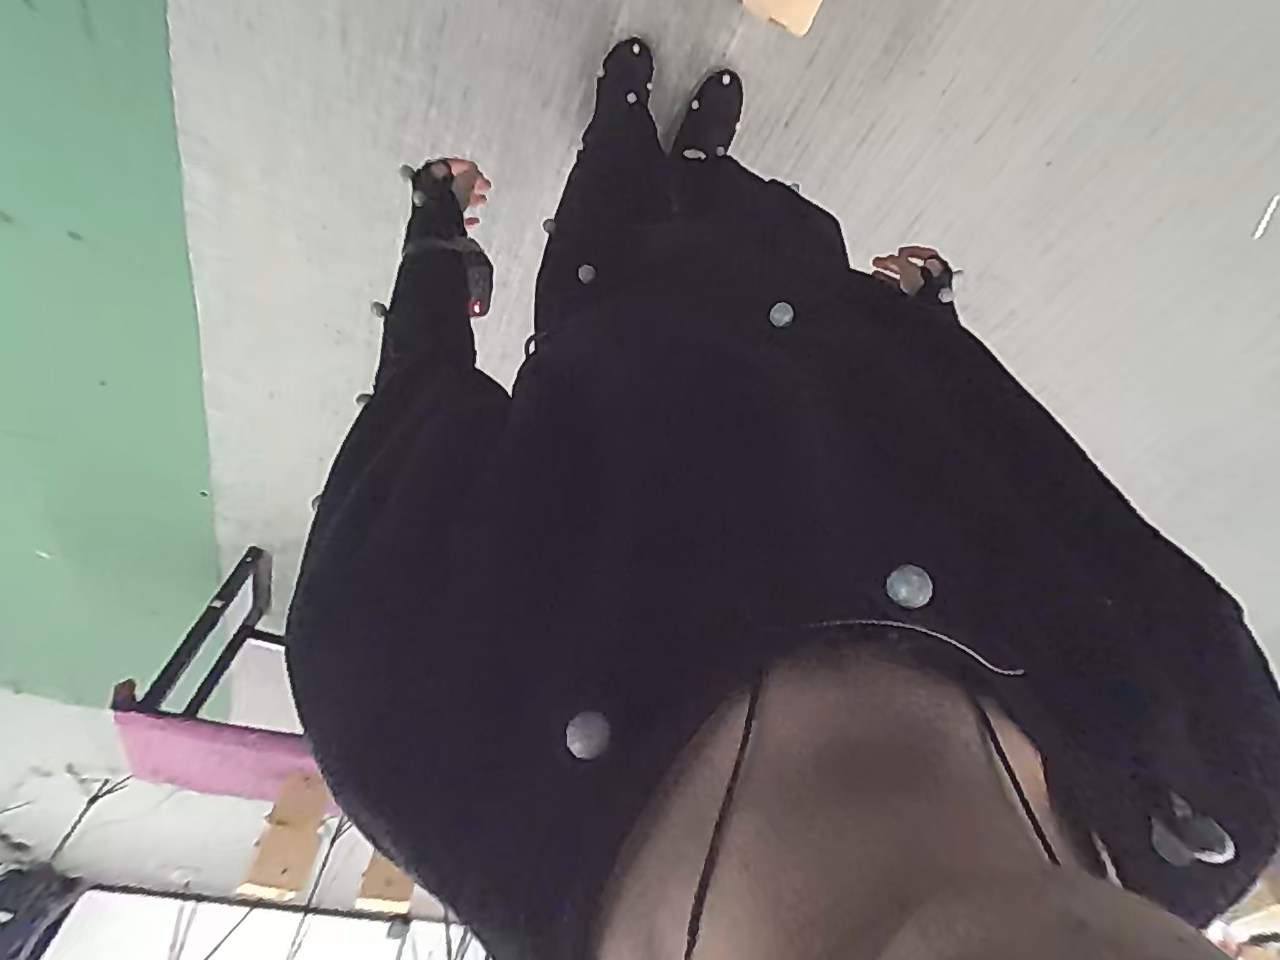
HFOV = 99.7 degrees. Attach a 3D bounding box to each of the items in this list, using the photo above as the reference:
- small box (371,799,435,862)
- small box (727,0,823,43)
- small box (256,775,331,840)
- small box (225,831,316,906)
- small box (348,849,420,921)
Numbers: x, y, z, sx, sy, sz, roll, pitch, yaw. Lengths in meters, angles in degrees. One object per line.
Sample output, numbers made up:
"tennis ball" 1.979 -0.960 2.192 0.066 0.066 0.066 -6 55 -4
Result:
"small box" -0.885 1.312 2.017 0.179 0.176 0.168 19 130 -13
"small box" 0.206 -0.789 0.791 0.168 0.176 0.179 19 131 -15
"small box" -1.214 1.167 1.901 0.168 0.176 0.179 23 129 -18
"small box" -1.210 1.280 1.781 0.179 0.176 0.168 33 126 -24
"small box" -0.894 1.416 1.894 0.179 0.176 0.168 17 130 -13
